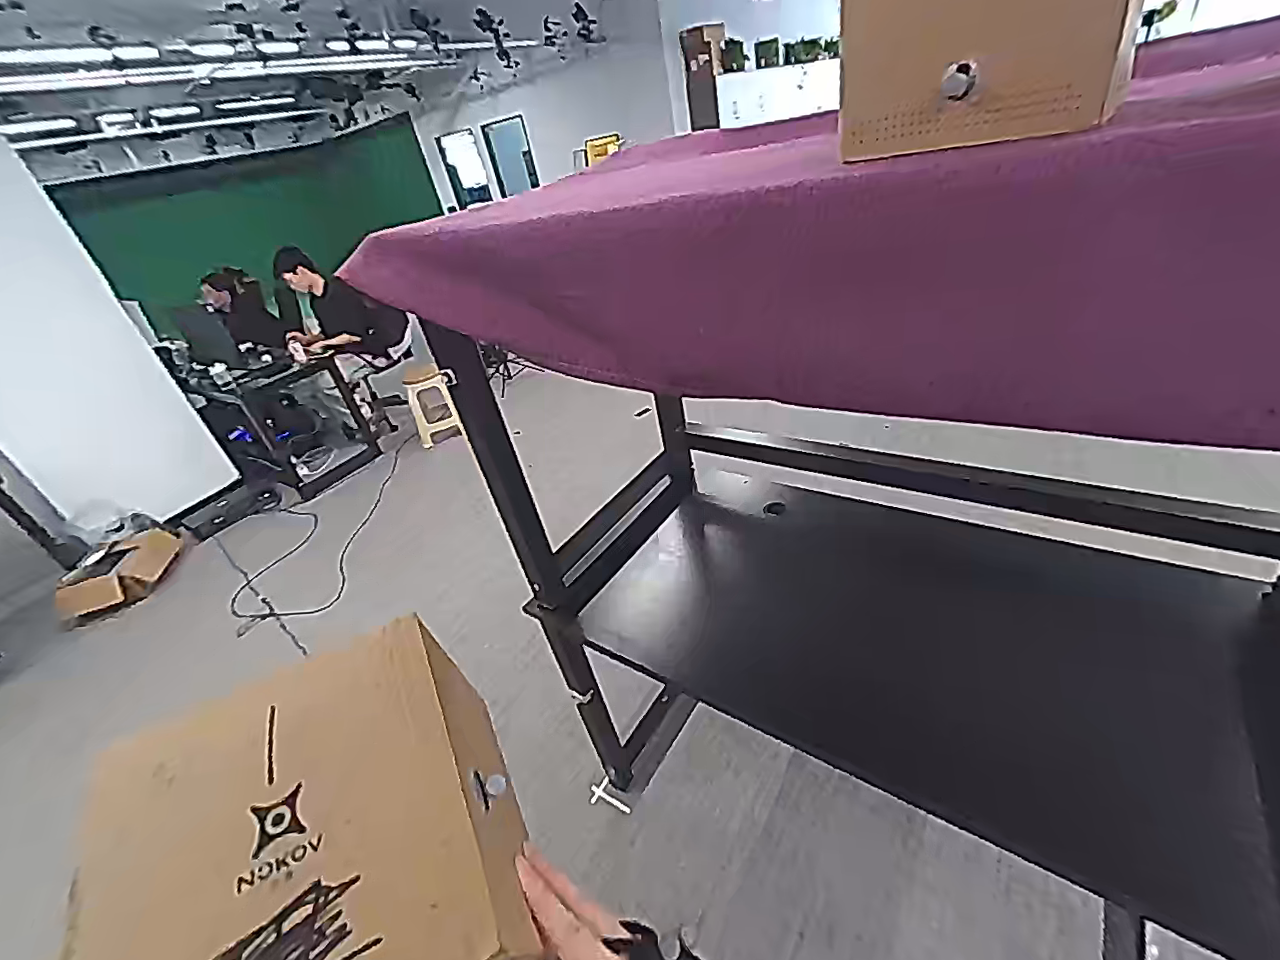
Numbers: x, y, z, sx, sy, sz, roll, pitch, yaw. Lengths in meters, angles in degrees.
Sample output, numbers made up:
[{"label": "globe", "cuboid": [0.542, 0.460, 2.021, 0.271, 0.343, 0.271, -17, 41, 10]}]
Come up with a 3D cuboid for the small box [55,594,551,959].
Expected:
[{"label": "small box", "cuboid": [-0.163, 0.203, 0.306, 0.168, 0.176, 0.179, -23, 53, -16]}]

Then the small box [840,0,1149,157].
[{"label": "small box", "cuboid": [0.265, -0.356, 0.401, 0.179, 0.176, 0.168, 16, 42, 37]}]
